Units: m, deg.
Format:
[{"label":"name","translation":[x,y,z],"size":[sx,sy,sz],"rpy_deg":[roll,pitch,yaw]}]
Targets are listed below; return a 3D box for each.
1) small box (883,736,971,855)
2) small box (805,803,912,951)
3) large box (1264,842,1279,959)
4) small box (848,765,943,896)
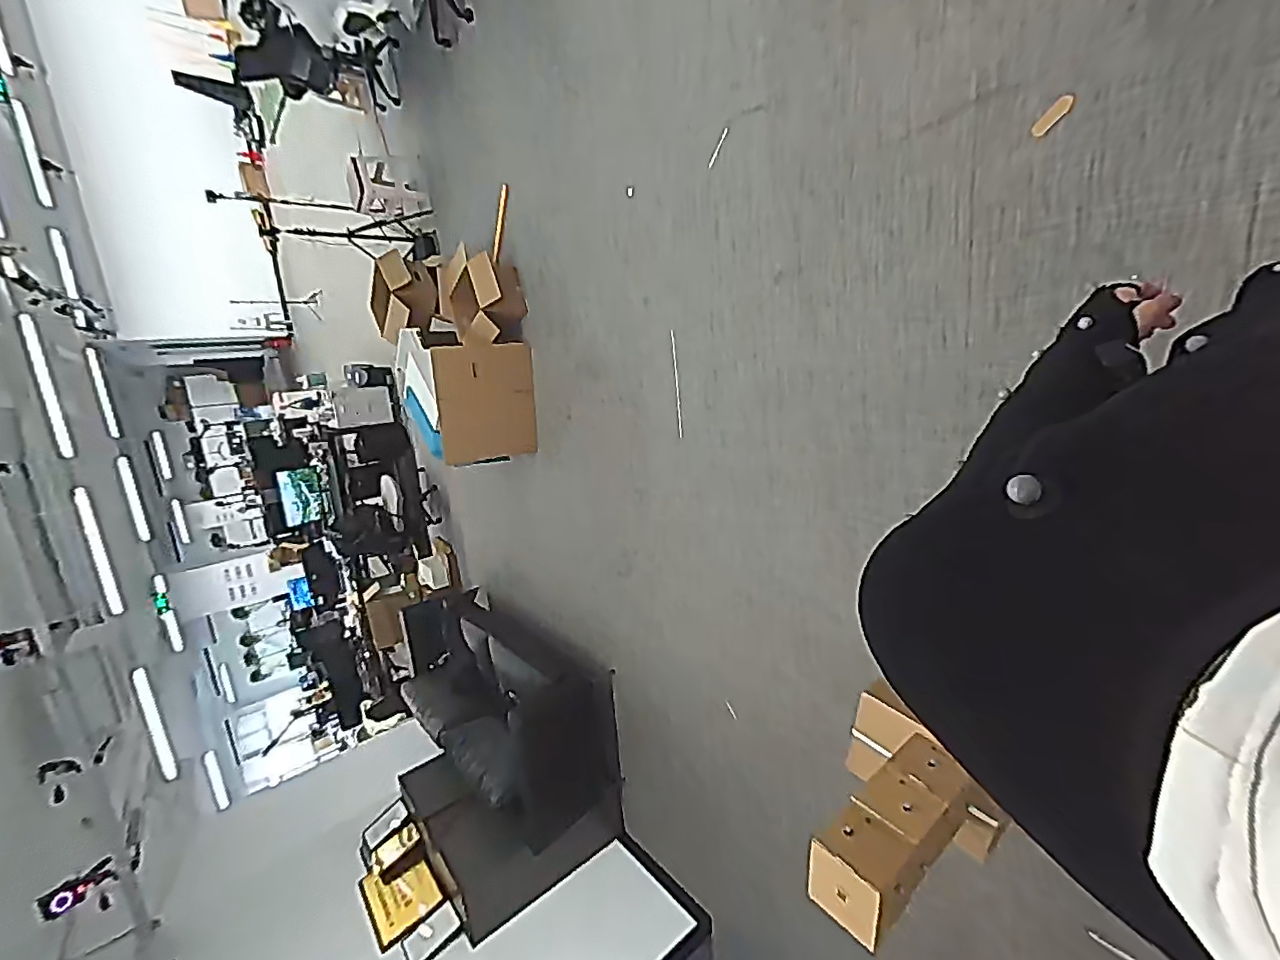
[{"label":"small box","translation":[0.750,0.822,1.432],"size":[0.168,0.176,0.179],"rpy_deg":[19,115,48]},{"label":"small box","translation":[0.500,0.891,1.235],"size":[0.168,0.176,0.179],"rpy_deg":[17,116,48]},{"label":"large box","translation":[1.473,0.893,0.951],"size":[0.408,0.320,0.320],"rpy_deg":[-40,72,48]},{"label":"small box","translation":[0.624,0.853,1.334],"size":[0.168,0.176,0.179],"rpy_deg":[18,116,47]}]
